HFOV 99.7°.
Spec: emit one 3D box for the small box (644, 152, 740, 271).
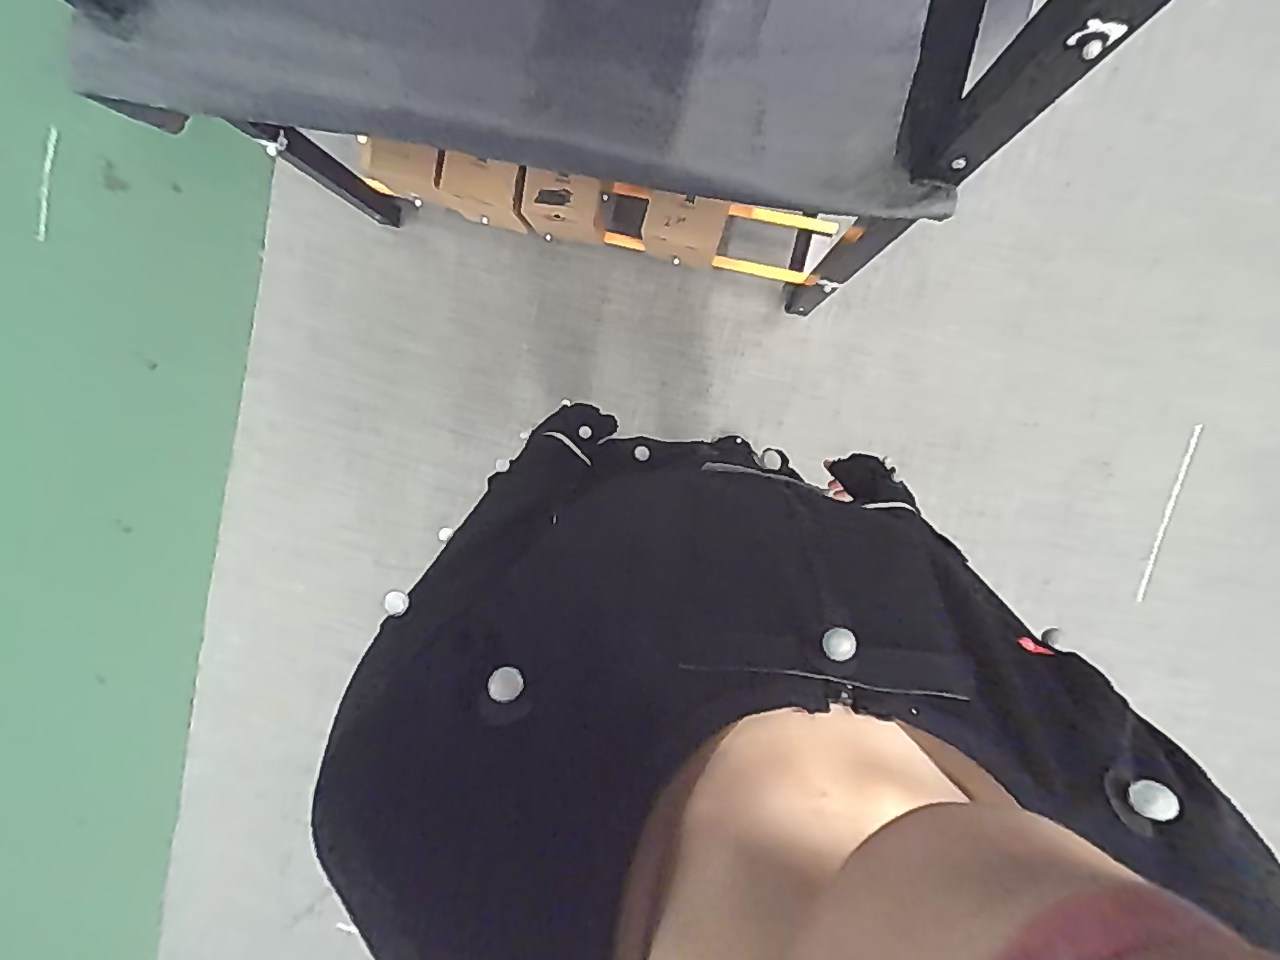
[{"bbox_3d":[0.116,-0.605,1.238,0.168,0.176,0.179,18,99,3],"label":"small box"}]
